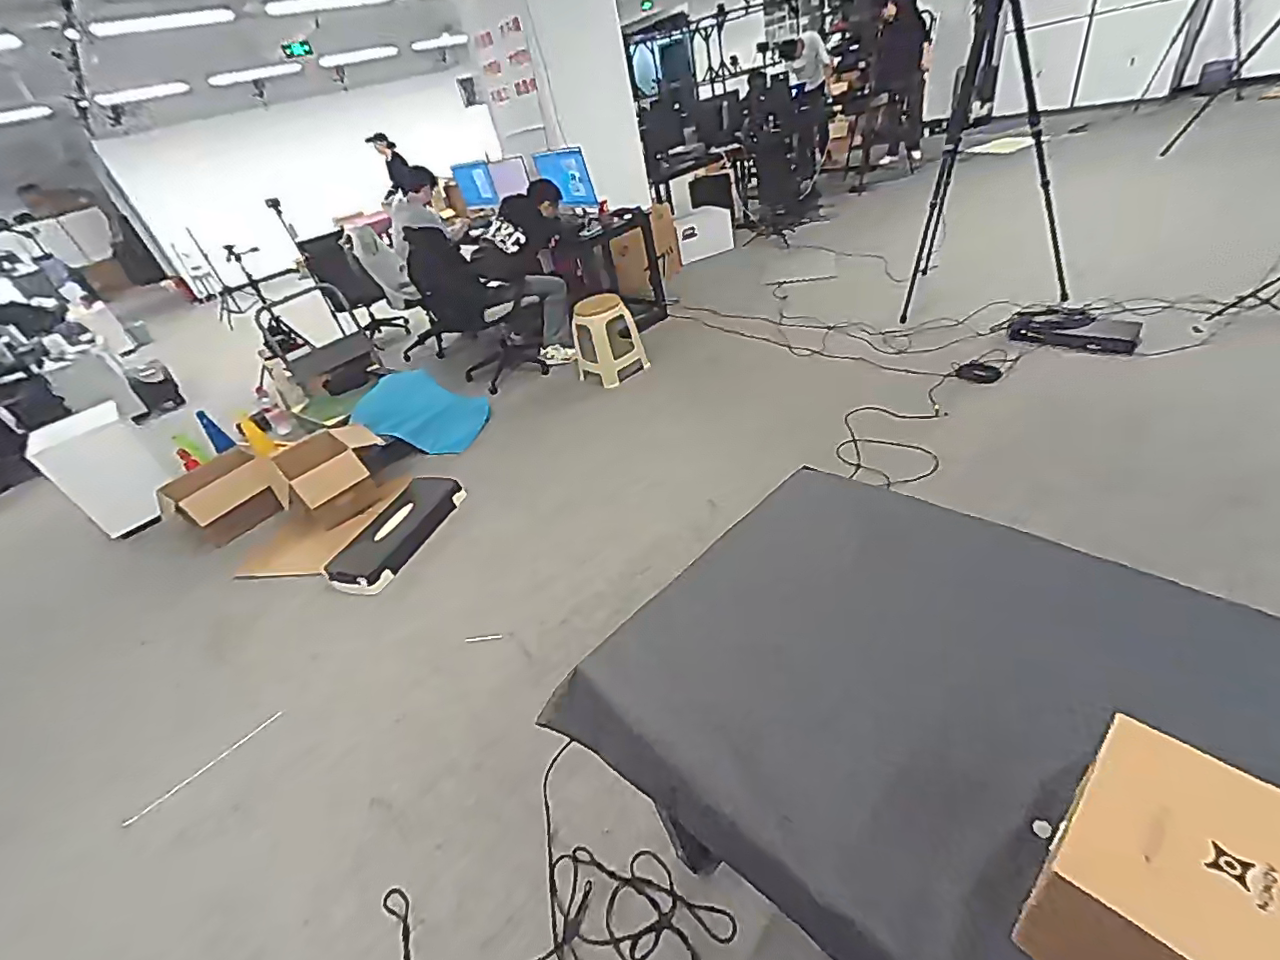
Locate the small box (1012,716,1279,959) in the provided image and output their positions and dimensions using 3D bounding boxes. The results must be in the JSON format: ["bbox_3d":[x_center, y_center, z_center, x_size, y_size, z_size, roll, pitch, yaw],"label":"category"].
[{"bbox_3d":[0.432,0.337,0.426,0.168,0.176,0.179,-35,39,-29],"label":"small box"}]
